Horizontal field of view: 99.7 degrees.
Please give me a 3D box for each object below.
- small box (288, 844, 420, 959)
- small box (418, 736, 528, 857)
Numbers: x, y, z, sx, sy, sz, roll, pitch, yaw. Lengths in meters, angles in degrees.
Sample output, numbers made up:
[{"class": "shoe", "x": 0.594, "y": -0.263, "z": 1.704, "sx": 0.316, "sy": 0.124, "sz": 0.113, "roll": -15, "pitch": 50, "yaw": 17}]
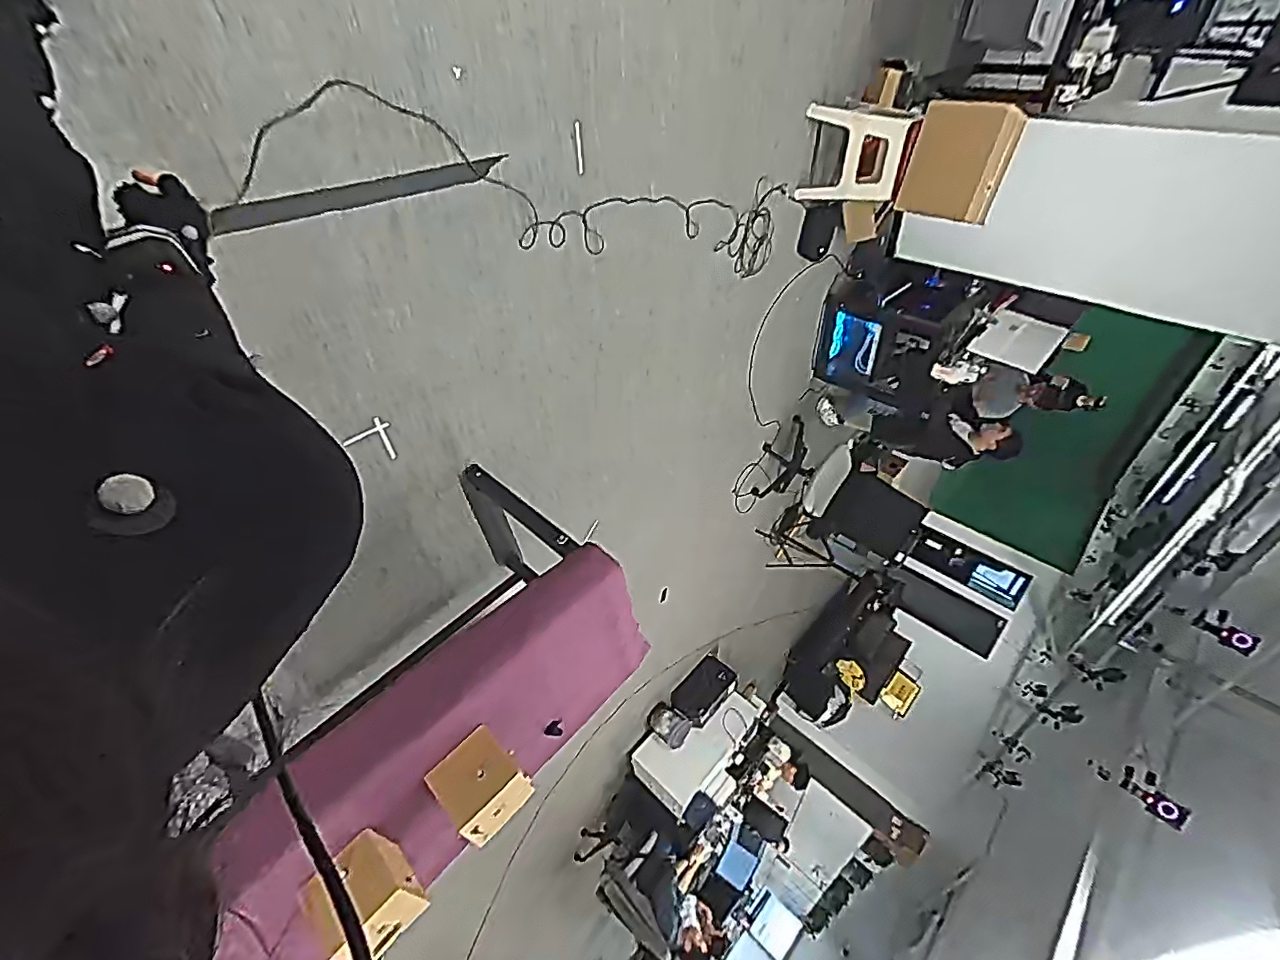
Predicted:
[{"class": "small box", "x": -0.623, "y": 0.942, "z": 1.183, "sx": 0.168, "sy": 0.176, "sz": 0.179, "roll": -39, "pitch": 142, "yaw": -29}, {"class": "small box", "x": -0.410, "y": 0.774, "z": 1.335, "sx": 0.179, "sy": 0.176, "sz": 0.168, "roll": -39, "pitch": 142, "yaw": -29}]
